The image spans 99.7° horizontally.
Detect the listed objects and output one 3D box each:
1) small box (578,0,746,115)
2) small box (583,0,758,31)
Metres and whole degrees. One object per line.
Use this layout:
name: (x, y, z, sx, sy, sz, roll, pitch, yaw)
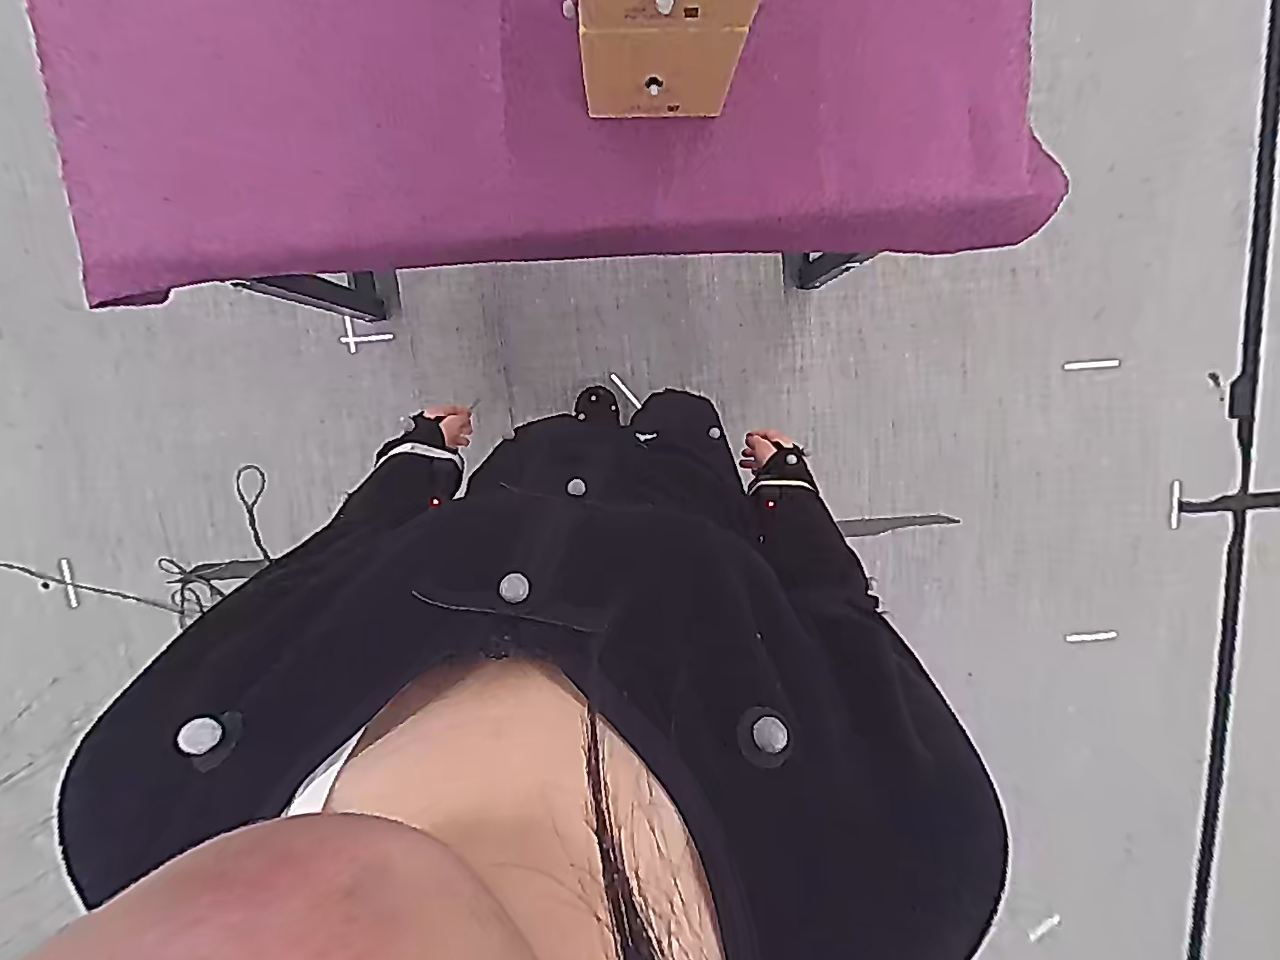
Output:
small box: (0.020, -0.528, 0.589, 0.168, 0.176, 0.179, -2, 99, -2)
small box: (0.028, -0.507, 0.426, 0.168, 0.176, 0.179, -2, 100, -1)
